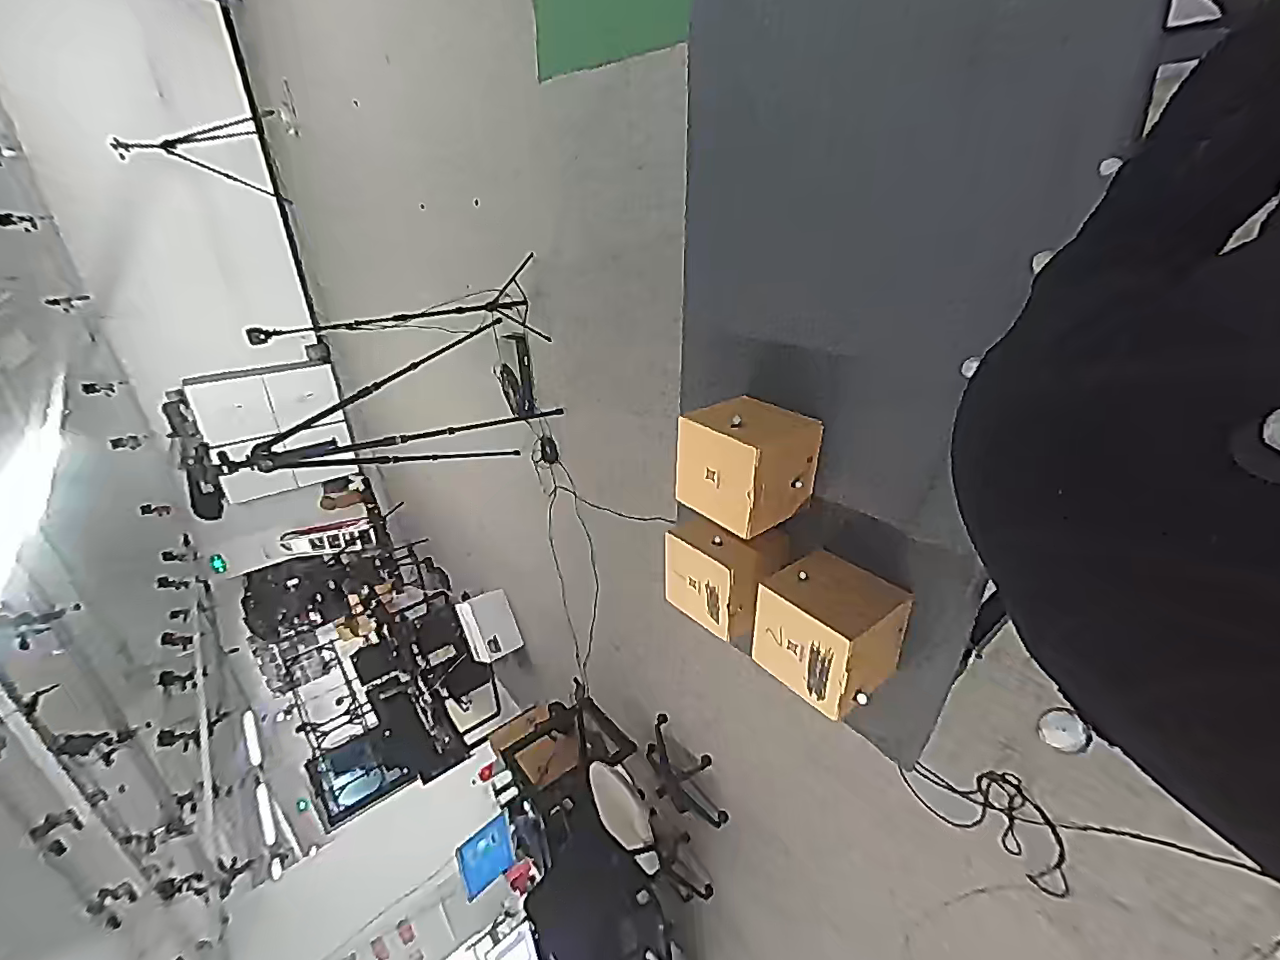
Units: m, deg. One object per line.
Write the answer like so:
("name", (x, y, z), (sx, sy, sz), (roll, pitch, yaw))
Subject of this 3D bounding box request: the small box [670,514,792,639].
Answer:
("small box", (0.178, 0.172, 1.066), (0.179, 0.176, 0.168), (27, 128, 46))

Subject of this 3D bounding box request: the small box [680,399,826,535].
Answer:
("small box", (0.191, -0.034, 0.943), (0.179, 0.176, 0.168), (29, 129, 43))
